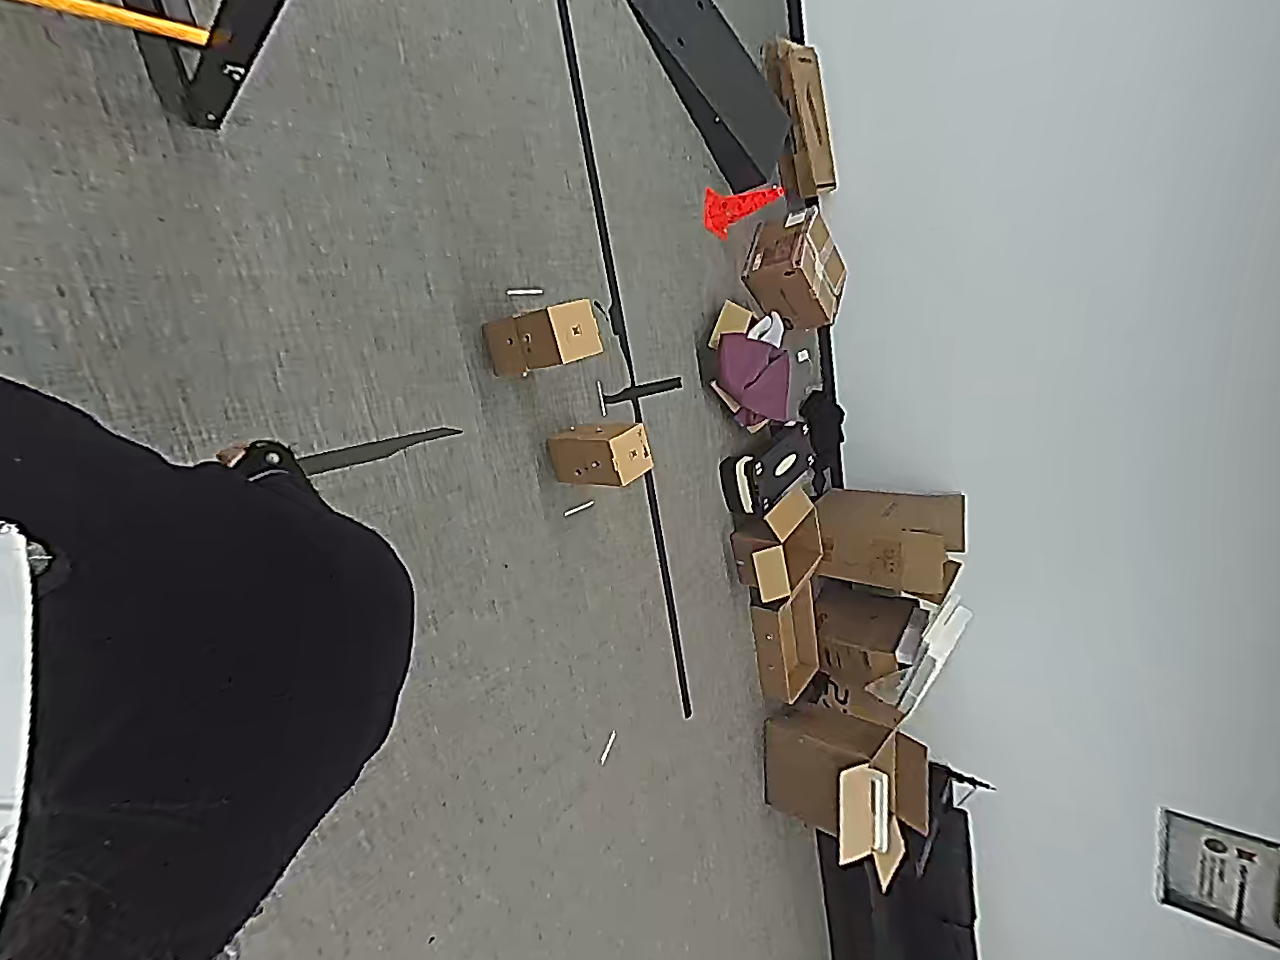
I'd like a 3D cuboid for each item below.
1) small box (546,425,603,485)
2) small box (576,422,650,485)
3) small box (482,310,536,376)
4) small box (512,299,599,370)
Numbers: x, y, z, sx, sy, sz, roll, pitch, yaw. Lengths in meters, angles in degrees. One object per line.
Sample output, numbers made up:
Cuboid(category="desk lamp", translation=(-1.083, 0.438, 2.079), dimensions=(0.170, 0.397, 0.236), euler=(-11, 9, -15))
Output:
Cuboid(category="small box", translation=(-0.214, -0.095, 1.964), dimensions=(0.168, 0.176, 0.179), euler=(-32, 115, -43))
Cuboid(category="small box", translation=(-0.098, -0.090, 1.849), dimensions=(0.179, 0.176, 0.168), euler=(-33, 116, -42))
Cuboid(category="small box", translation=(-0.386, -0.444, 1.753), dimensions=(0.168, 0.176, 0.179), euler=(-28, 112, -44))
Cuboid(category="small box", translation=(-0.258, -0.442, 1.652), dimensions=(0.179, 0.176, 0.168), euler=(-31, 113, -42))
